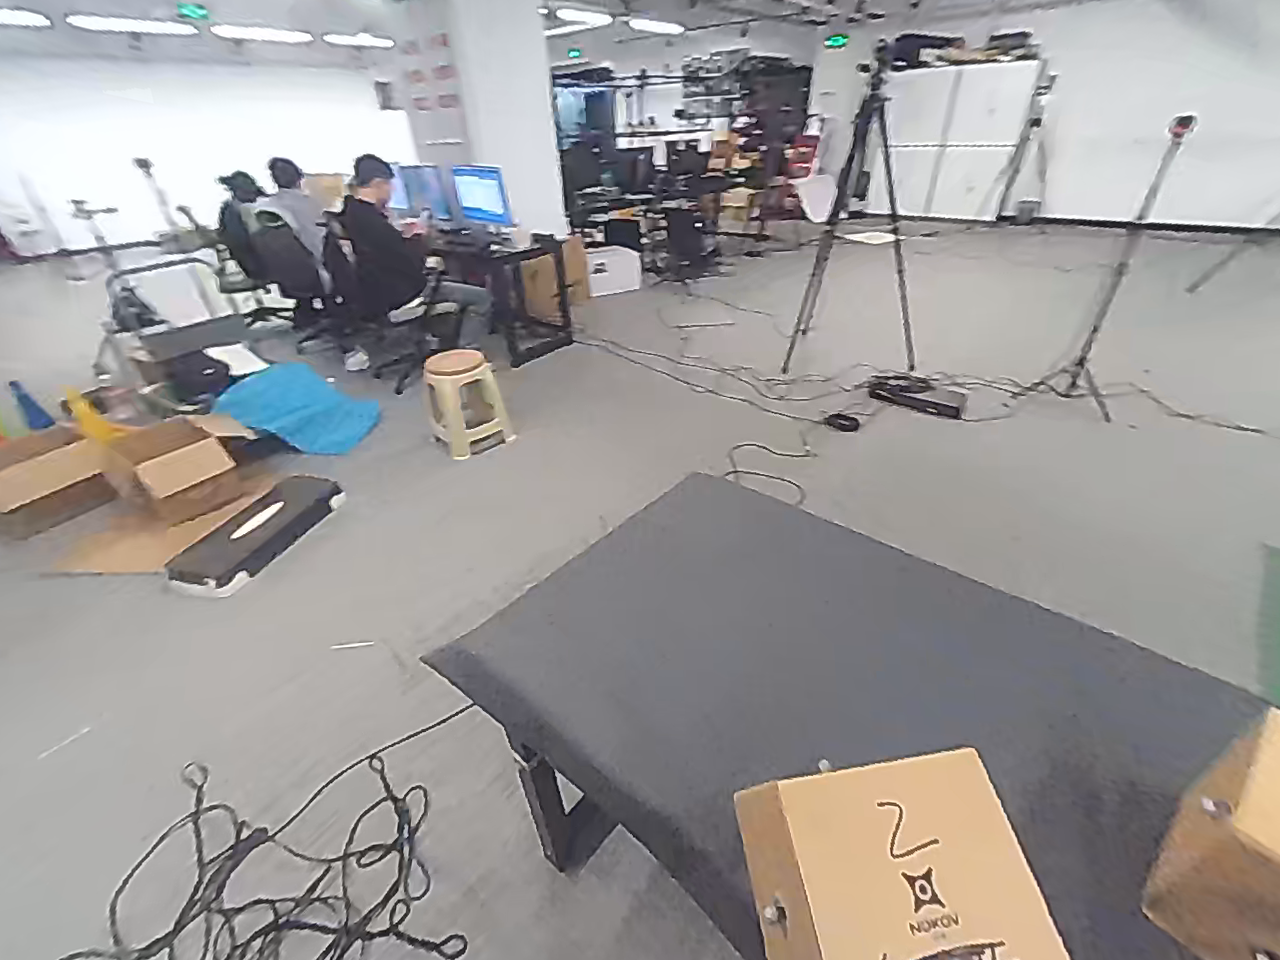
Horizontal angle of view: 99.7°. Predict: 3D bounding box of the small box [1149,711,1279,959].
[{"bbox_3d":[0.607,0.356,0.478,0.179,0.176,0.168,-26,40,-30],"label":"small box"}]
